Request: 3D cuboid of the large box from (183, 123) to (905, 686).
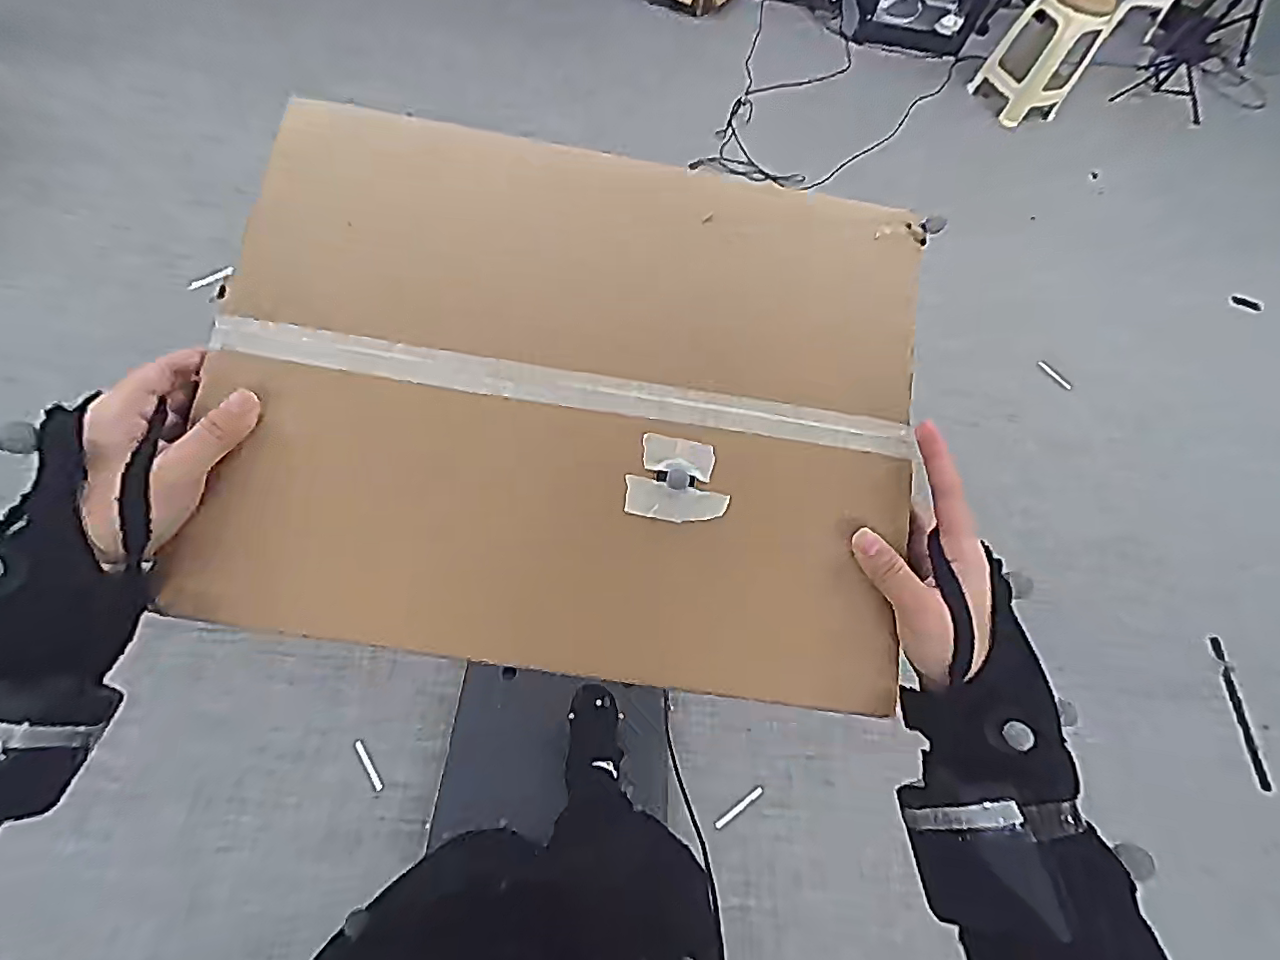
[{"bbox_3d":[-0.048,-0.030,0.477,0.408,0.320,0.320,9,81,-3],"label":"large box"}]
